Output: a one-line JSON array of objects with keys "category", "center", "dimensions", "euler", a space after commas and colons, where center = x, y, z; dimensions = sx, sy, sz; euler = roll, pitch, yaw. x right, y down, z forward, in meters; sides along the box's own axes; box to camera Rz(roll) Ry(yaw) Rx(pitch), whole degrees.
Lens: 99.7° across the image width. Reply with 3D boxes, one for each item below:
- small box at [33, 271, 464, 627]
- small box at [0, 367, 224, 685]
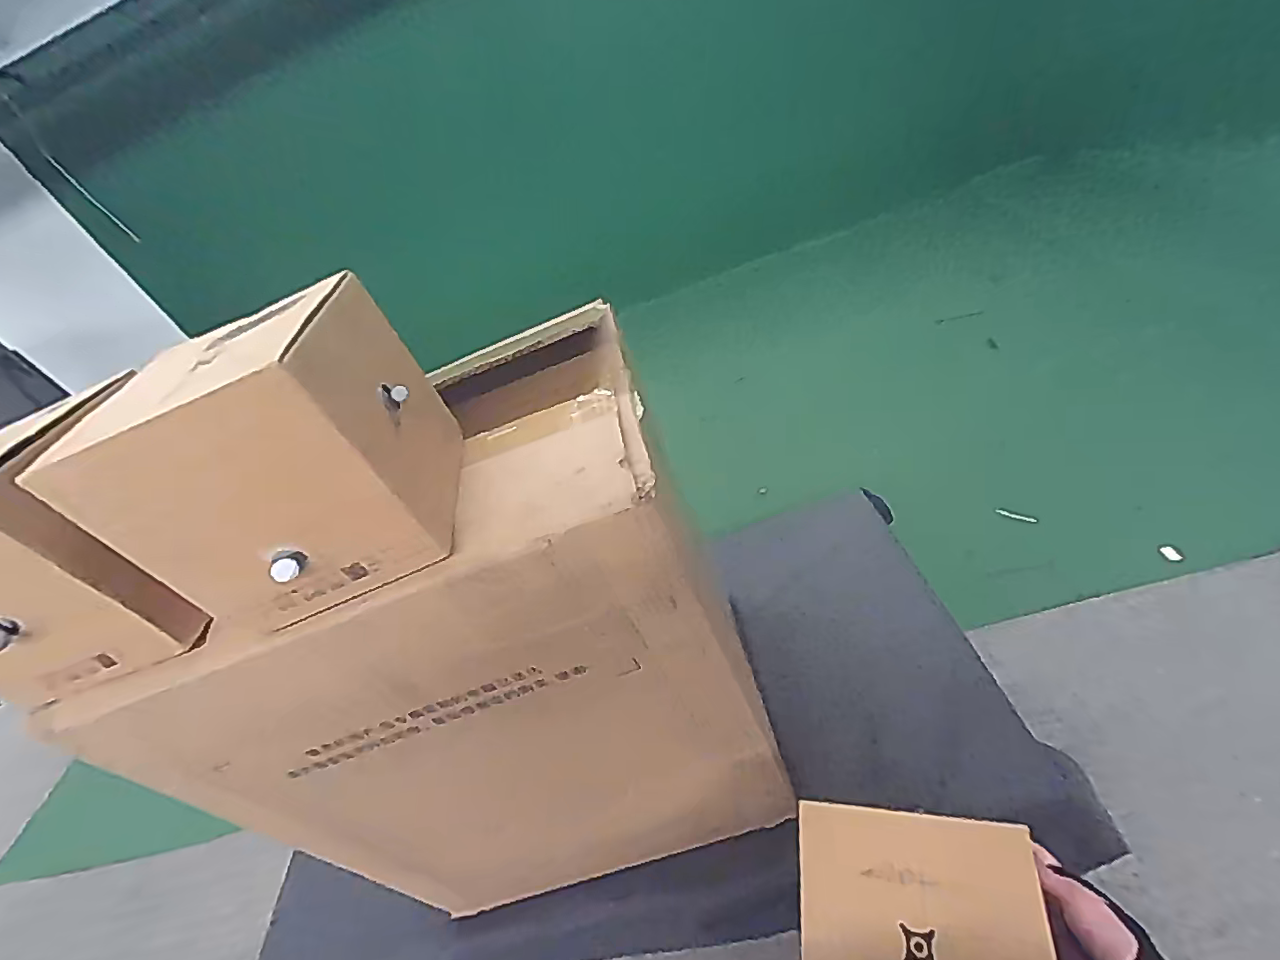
[{"category": "small box", "center": [-0.249, -0.024, 0.407], "dimensions": [0.168, 0.176, 0.179], "euler": [-22, 39, 3]}, {"category": "small box", "center": [-0.450, 0.044, 0.441], "dimensions": [0.168, 0.176, 0.179], "euler": [-20, 38, 7]}]
